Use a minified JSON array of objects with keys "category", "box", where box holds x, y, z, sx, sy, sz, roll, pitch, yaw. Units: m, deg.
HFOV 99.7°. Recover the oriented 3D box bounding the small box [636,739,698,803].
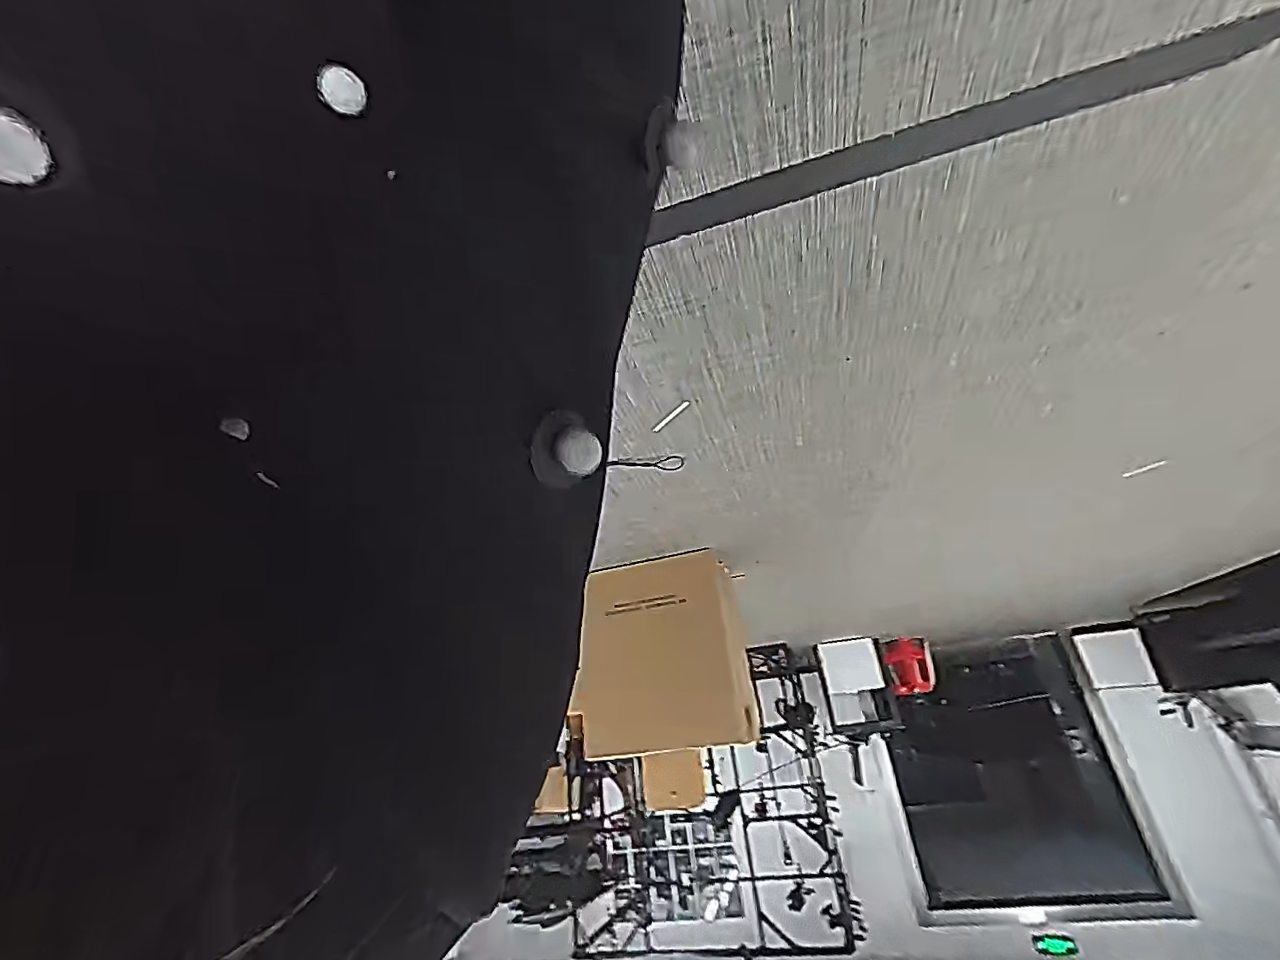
[{"category":"small box","box":[0.087,0.973,1.816,0.179,0.176,0.168,-12,154,10]}]
